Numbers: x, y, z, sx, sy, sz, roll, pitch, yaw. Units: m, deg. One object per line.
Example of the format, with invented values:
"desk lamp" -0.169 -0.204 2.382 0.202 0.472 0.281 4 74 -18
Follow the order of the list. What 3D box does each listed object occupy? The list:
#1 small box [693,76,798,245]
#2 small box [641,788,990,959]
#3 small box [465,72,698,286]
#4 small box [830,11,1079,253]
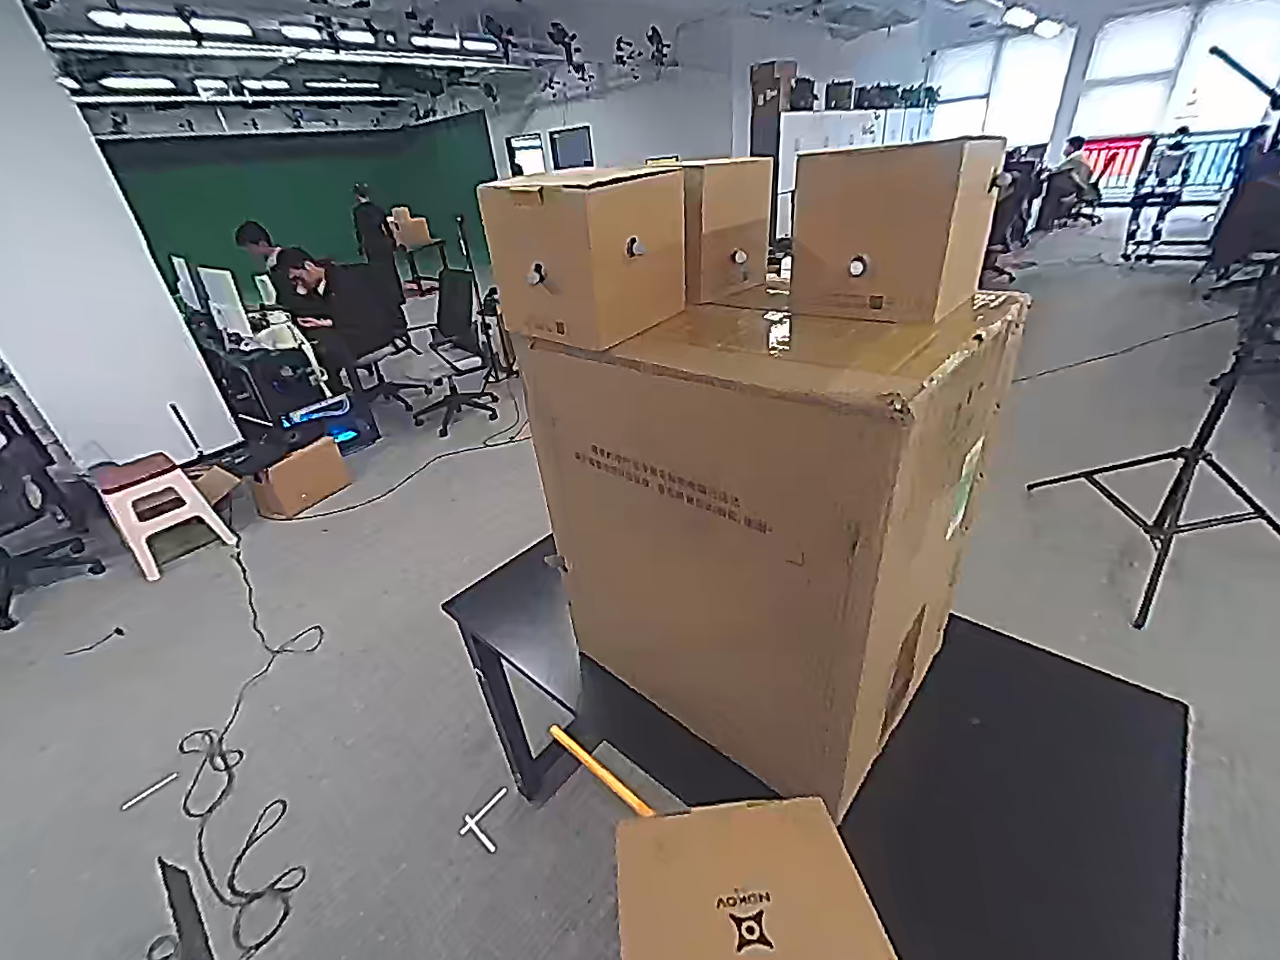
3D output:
"small box" 0.082 -0.409 0.706 0.179 0.176 0.168 23 41 36
"small box" 0.090 0.310 0.293 0.168 0.176 0.179 -5 18 -4
"small box" -0.048 -0.317 0.575 0.168 0.176 0.179 21 43 31
"small box" 0.303 -0.331 0.541 0.168 0.176 0.179 19 37 37
